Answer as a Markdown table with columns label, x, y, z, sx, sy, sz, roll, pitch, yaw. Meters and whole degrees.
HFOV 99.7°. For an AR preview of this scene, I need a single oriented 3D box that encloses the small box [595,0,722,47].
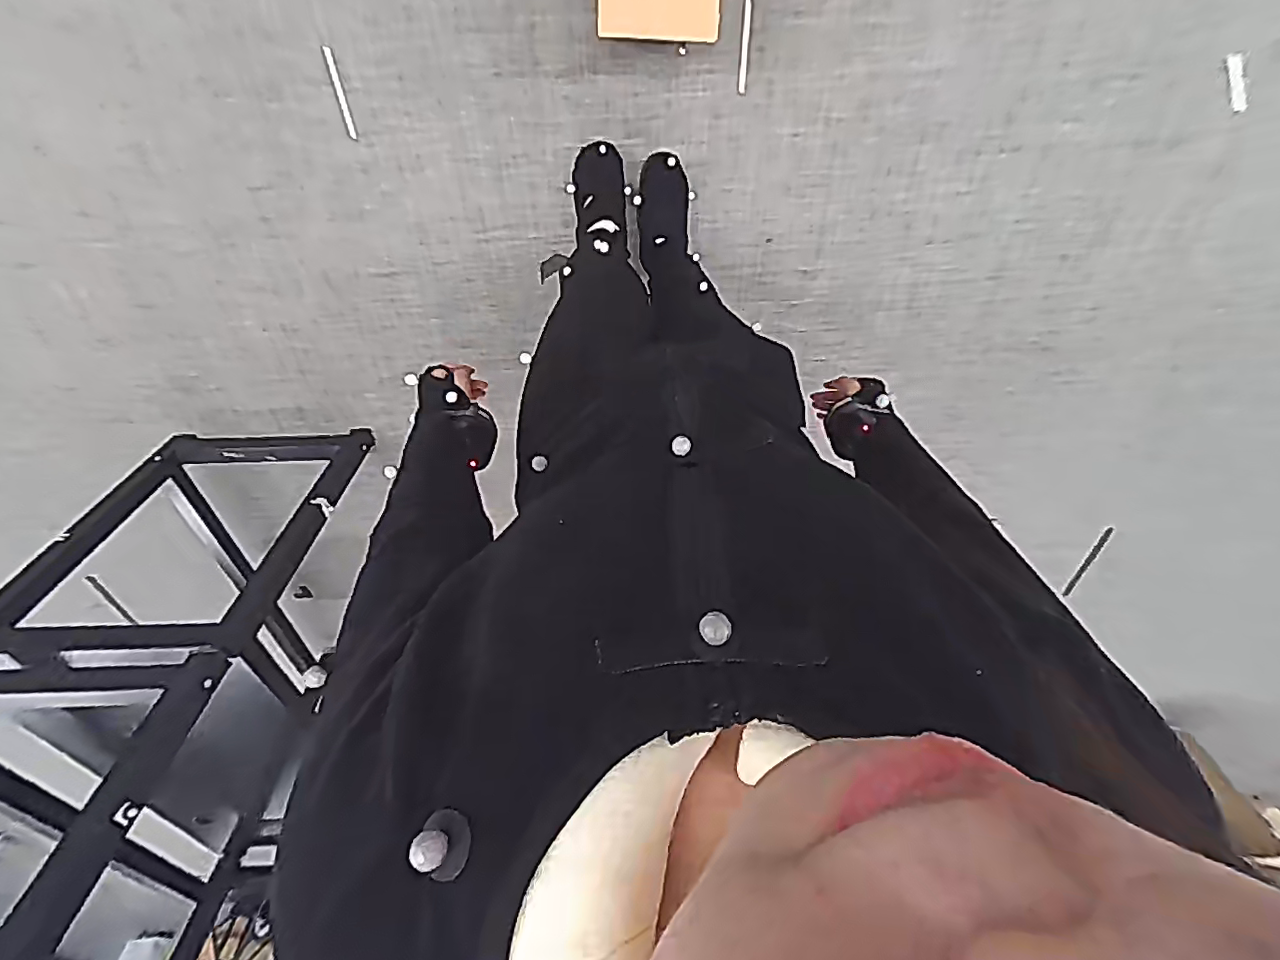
| label | x | y | z | sx | sy | sz | roll | pitch | yaw |
| --- | --- | --- | --- | --- | --- | --- | --- | --- | --- |
| small box | 0.025 | -0.739 | 0.780 | 0.179 | 0.176 | 0.168 | 2 | 129 | -3 |
